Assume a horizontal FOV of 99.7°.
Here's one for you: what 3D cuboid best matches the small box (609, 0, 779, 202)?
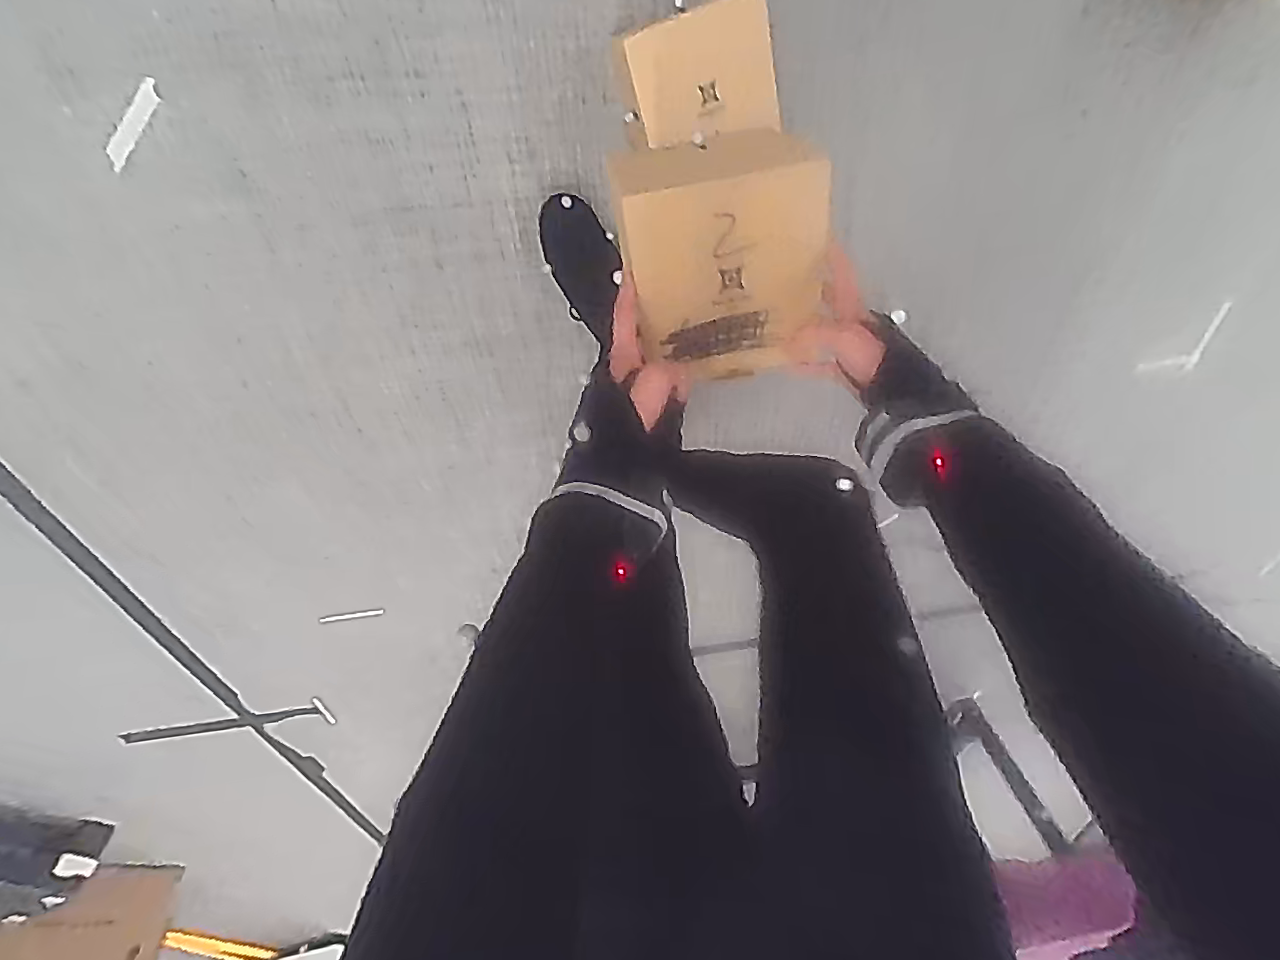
[{"bbox_3d":[0.066,-0.498,0.709,0.168,0.176,0.179,-19,130,4],"label":"small box"}]
